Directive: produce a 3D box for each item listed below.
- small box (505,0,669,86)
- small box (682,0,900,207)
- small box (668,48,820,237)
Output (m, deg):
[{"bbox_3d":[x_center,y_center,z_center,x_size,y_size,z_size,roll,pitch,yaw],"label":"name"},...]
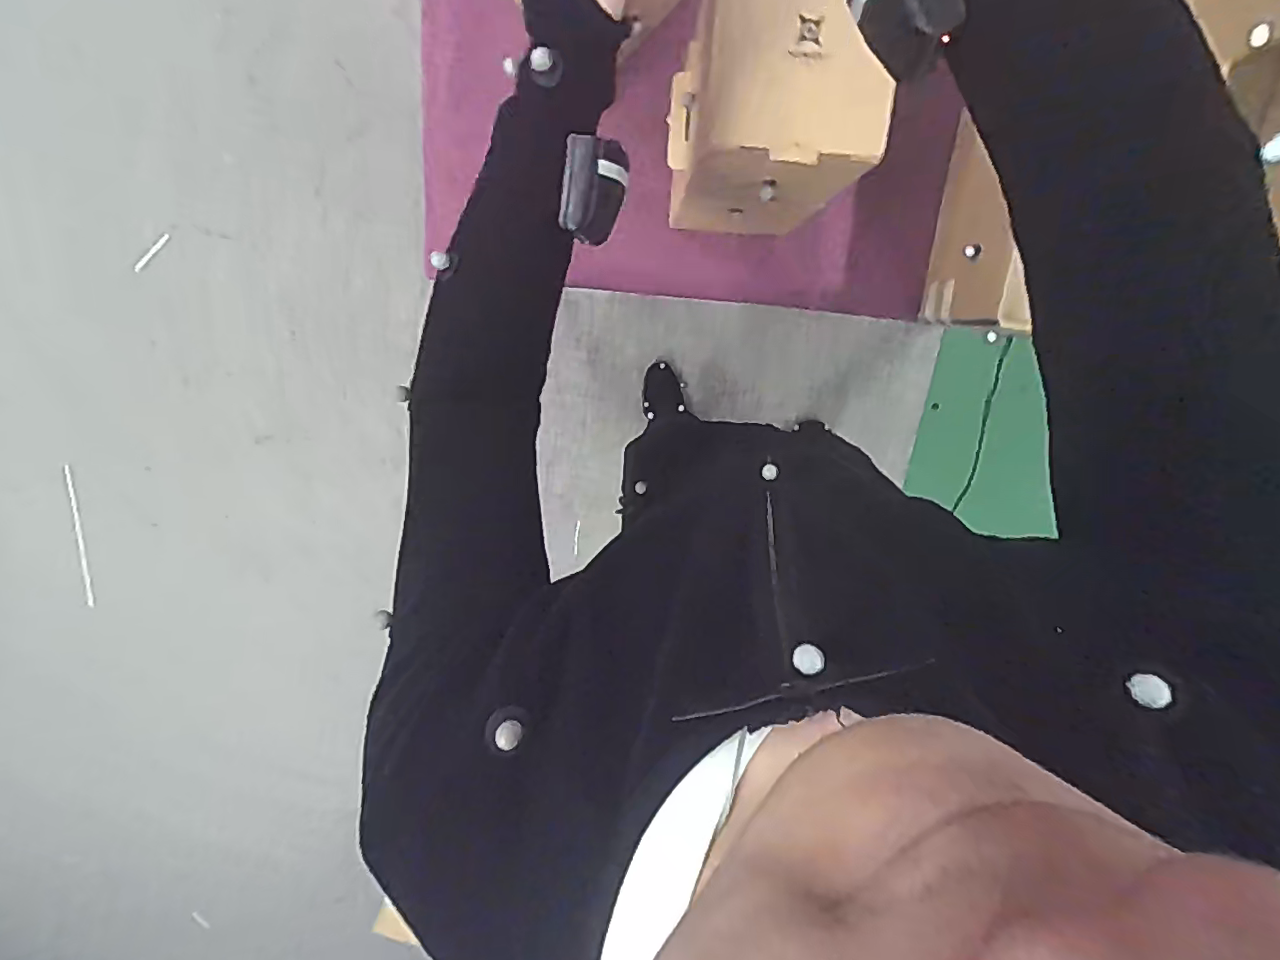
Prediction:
[{"bbox_3d":[-0.070,-0.626,0.654,0.168,0.176,0.179,-42,102,7],"label":"small box"},{"bbox_3d":[0.137,-0.393,0.551,0.168,0.176,0.179,3,104,-3],"label":"small box"},{"bbox_3d":[0.132,-0.426,0.711,0.179,0.176,0.168,2,103,-3],"label":"small box"}]
